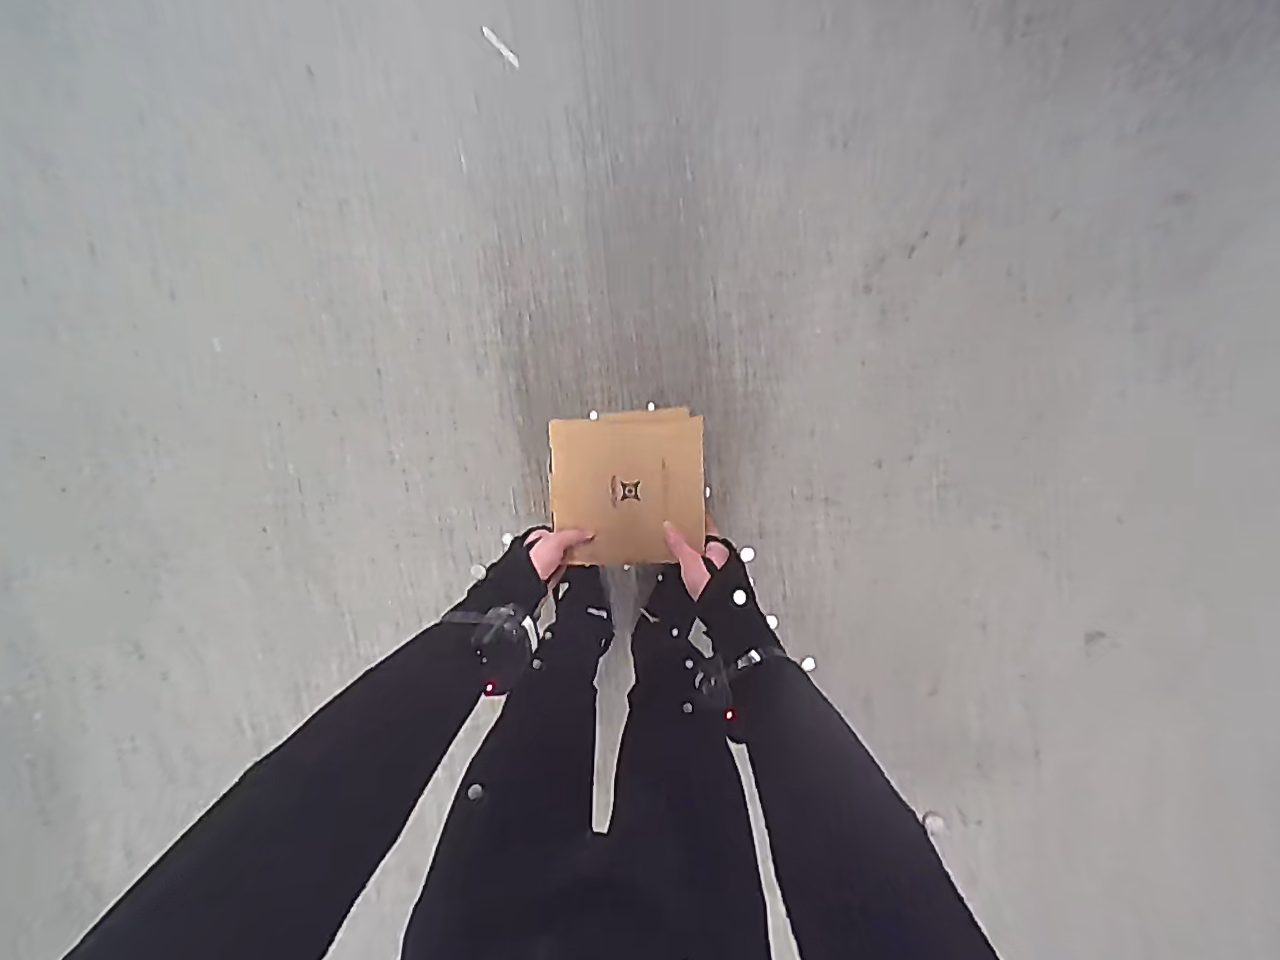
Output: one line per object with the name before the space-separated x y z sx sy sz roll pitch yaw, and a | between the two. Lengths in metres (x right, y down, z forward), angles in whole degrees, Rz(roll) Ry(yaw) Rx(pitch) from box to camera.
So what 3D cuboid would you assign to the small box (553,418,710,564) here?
small box | -0.009 0.012 0.688 0.179 0.176 0.168 -2 91 0
